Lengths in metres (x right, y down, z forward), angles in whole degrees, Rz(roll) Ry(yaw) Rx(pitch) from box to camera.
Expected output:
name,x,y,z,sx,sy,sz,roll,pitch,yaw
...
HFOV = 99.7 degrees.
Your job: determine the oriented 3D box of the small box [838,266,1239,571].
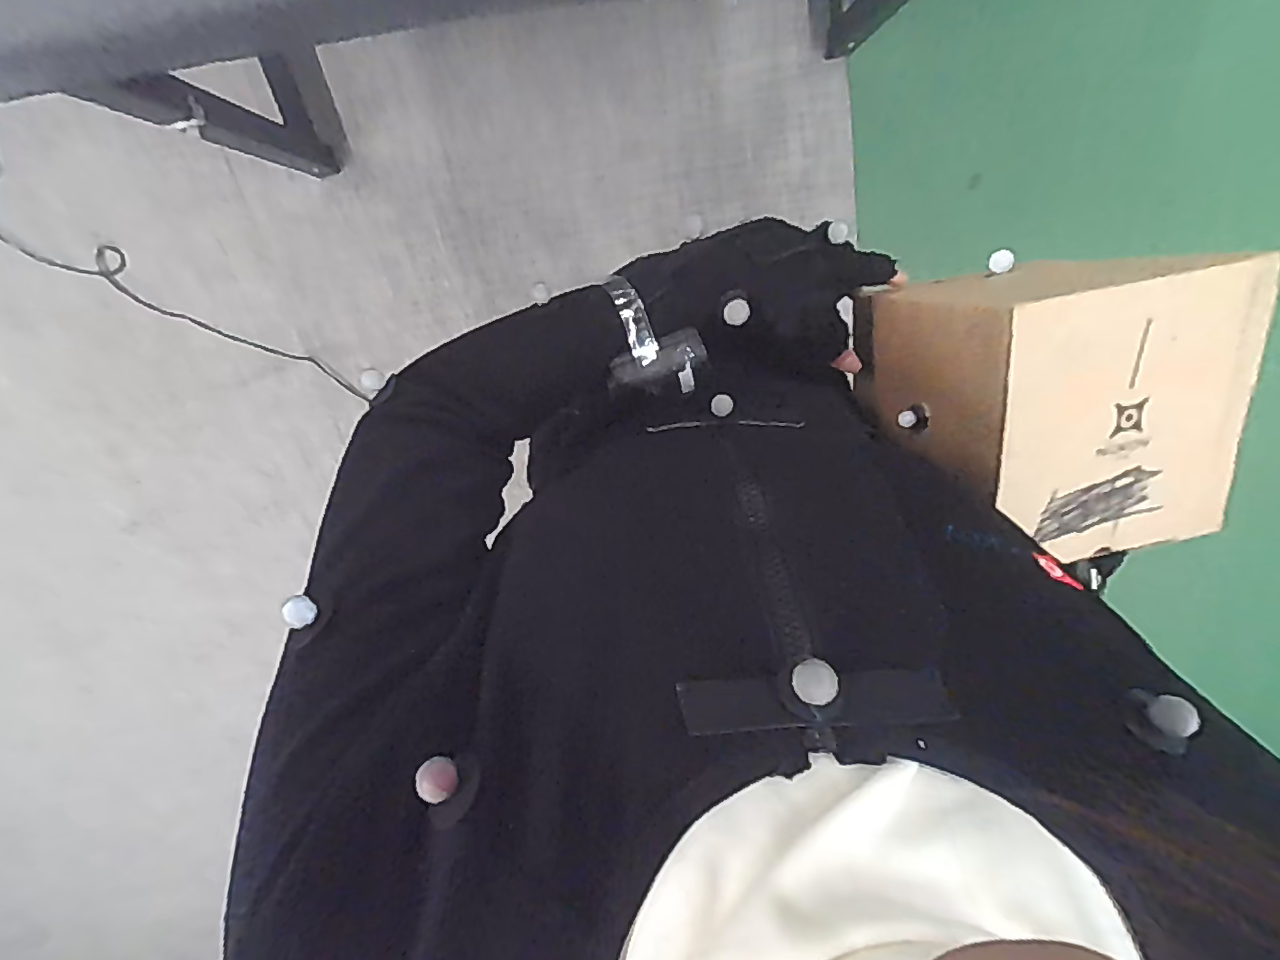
name,x,y,z,sx,sy,sz,roll,pitch,yaw
small box,0.267,-0.059,0.410,0.168,0.176,0.179,-11,110,-7
